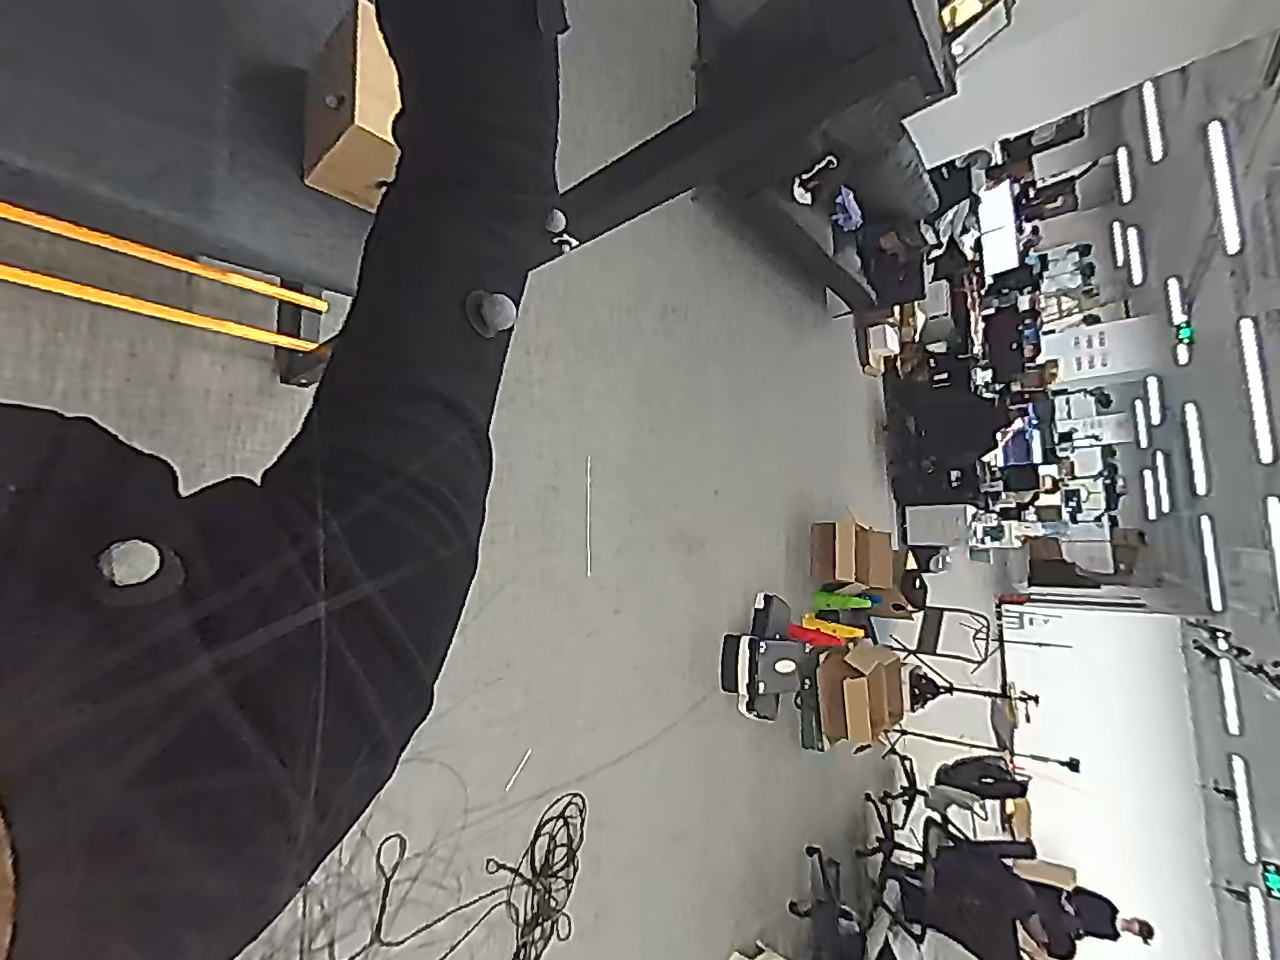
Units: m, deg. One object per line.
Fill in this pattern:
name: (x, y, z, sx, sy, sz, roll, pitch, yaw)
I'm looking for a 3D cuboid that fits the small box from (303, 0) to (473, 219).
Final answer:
small box: (-0.359, -0.510, 0.772, 0.168, 0.176, 0.179, 5, 81, -51)
